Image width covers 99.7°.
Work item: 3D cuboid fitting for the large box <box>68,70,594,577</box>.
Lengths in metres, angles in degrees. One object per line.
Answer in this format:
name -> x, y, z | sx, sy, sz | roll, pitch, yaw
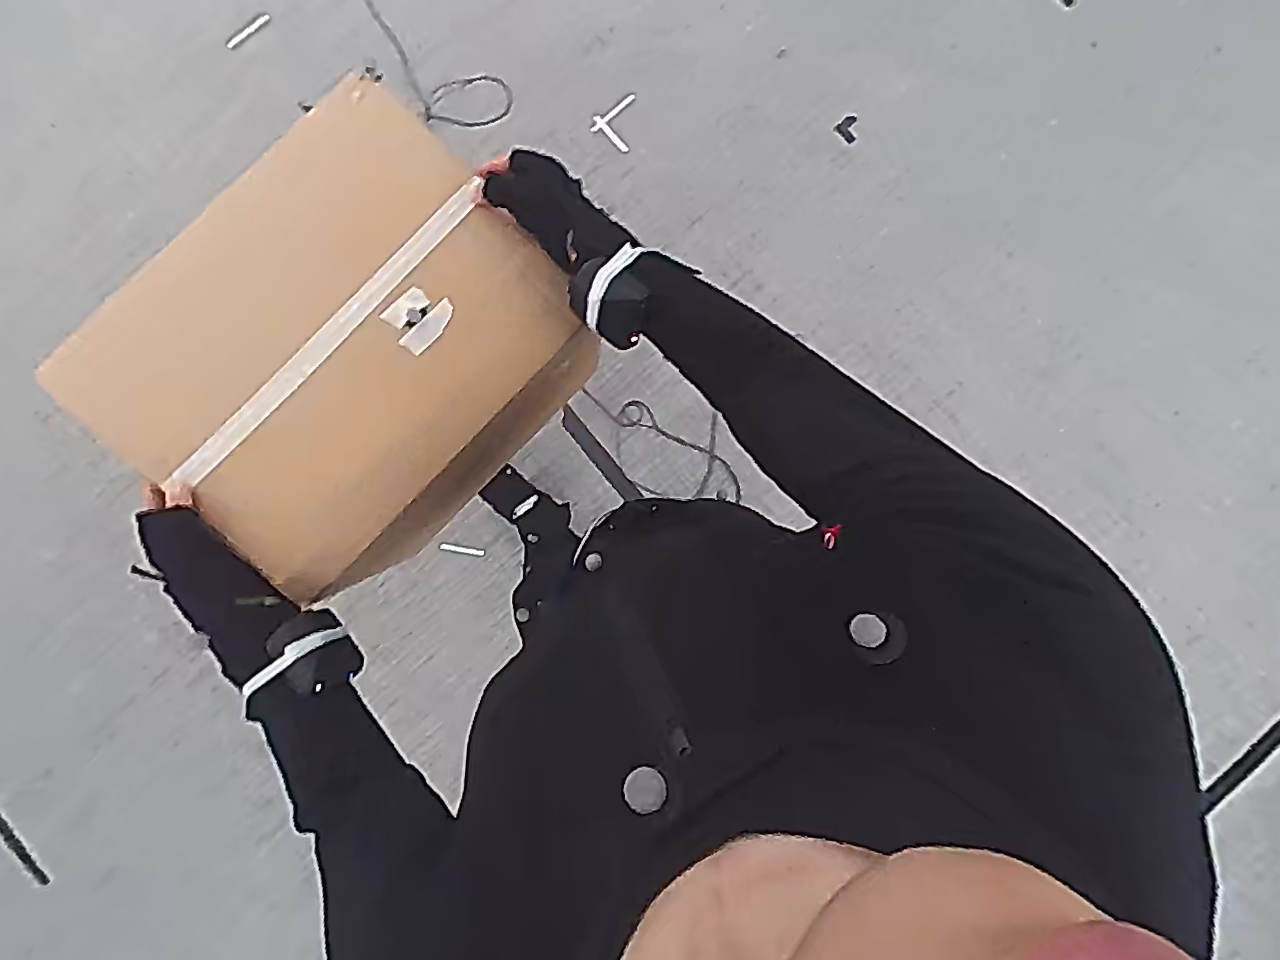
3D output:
large box -> -0.302, -0.150, 0.668 | 0.320, 0.320, 0.408 | 44, 86, -5
